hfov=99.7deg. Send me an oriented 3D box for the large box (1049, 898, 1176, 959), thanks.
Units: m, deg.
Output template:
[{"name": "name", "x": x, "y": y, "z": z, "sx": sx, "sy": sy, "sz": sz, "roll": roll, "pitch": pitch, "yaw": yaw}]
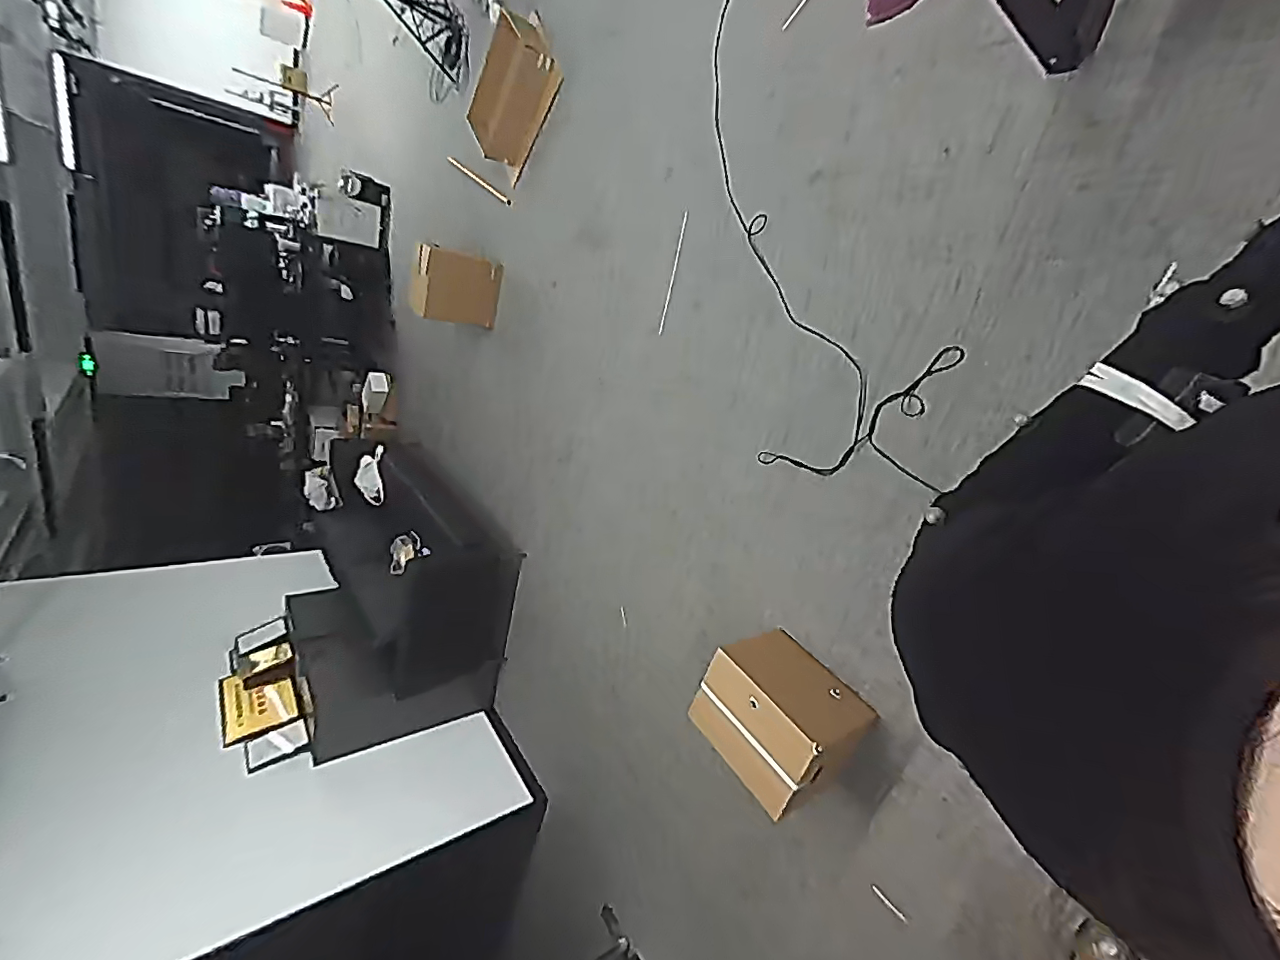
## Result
[{"name": "large box", "x": 0.975, "y": 1.188, "z": 1.089, "sx": 0.320, "sy": 0.320, "sz": 0.408, "roll": 32, "pitch": 118, "yaw": 45}]
